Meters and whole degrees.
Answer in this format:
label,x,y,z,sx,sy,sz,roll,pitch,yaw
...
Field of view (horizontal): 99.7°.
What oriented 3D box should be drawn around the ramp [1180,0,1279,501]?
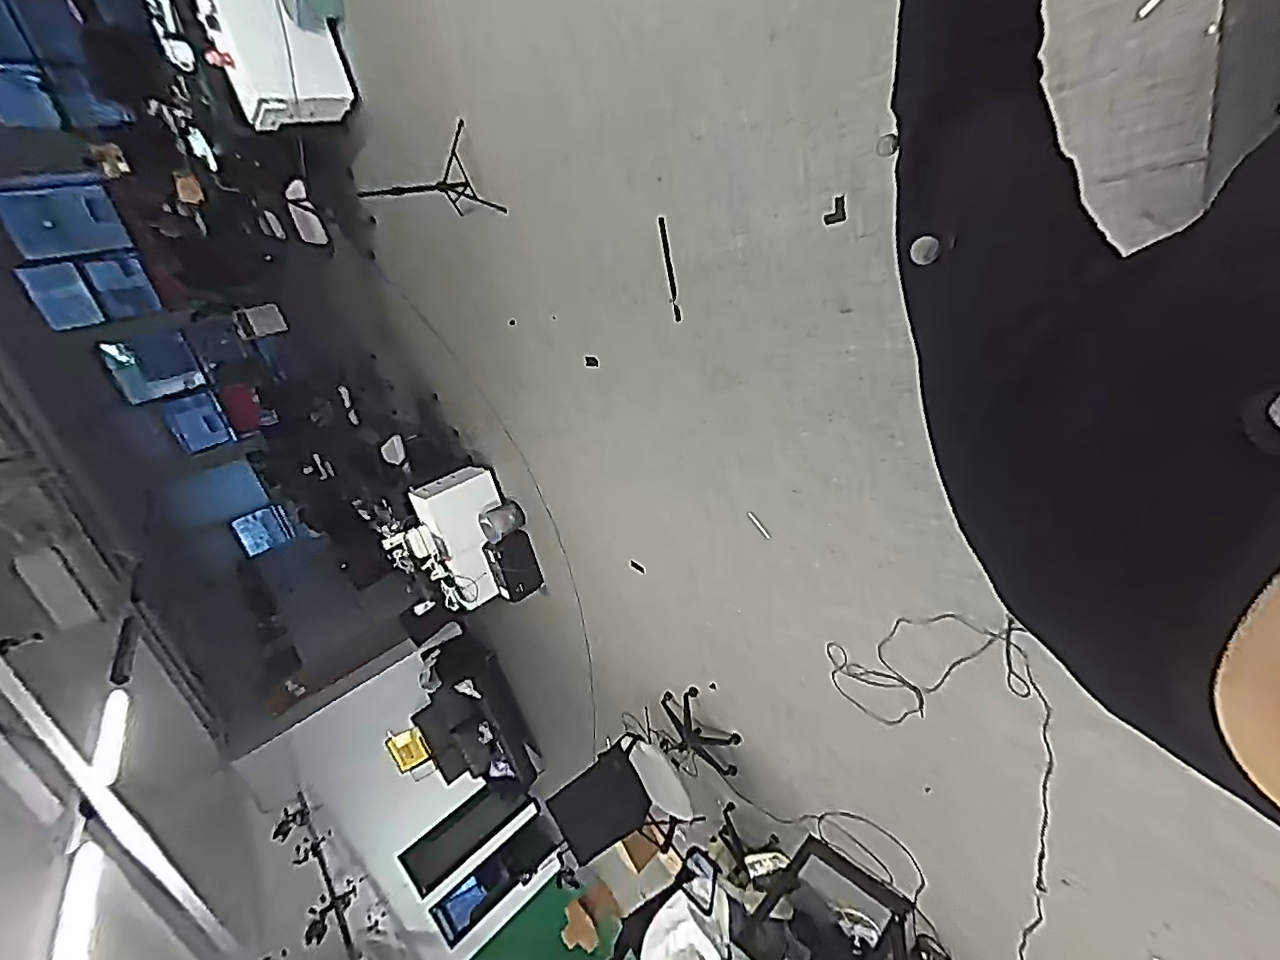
label,x,y,z,sx,sy,sz,roll,pitch,yaw
ramp,1.267,-0.354,0.886,0.509,0.206,0.991,8,121,49
